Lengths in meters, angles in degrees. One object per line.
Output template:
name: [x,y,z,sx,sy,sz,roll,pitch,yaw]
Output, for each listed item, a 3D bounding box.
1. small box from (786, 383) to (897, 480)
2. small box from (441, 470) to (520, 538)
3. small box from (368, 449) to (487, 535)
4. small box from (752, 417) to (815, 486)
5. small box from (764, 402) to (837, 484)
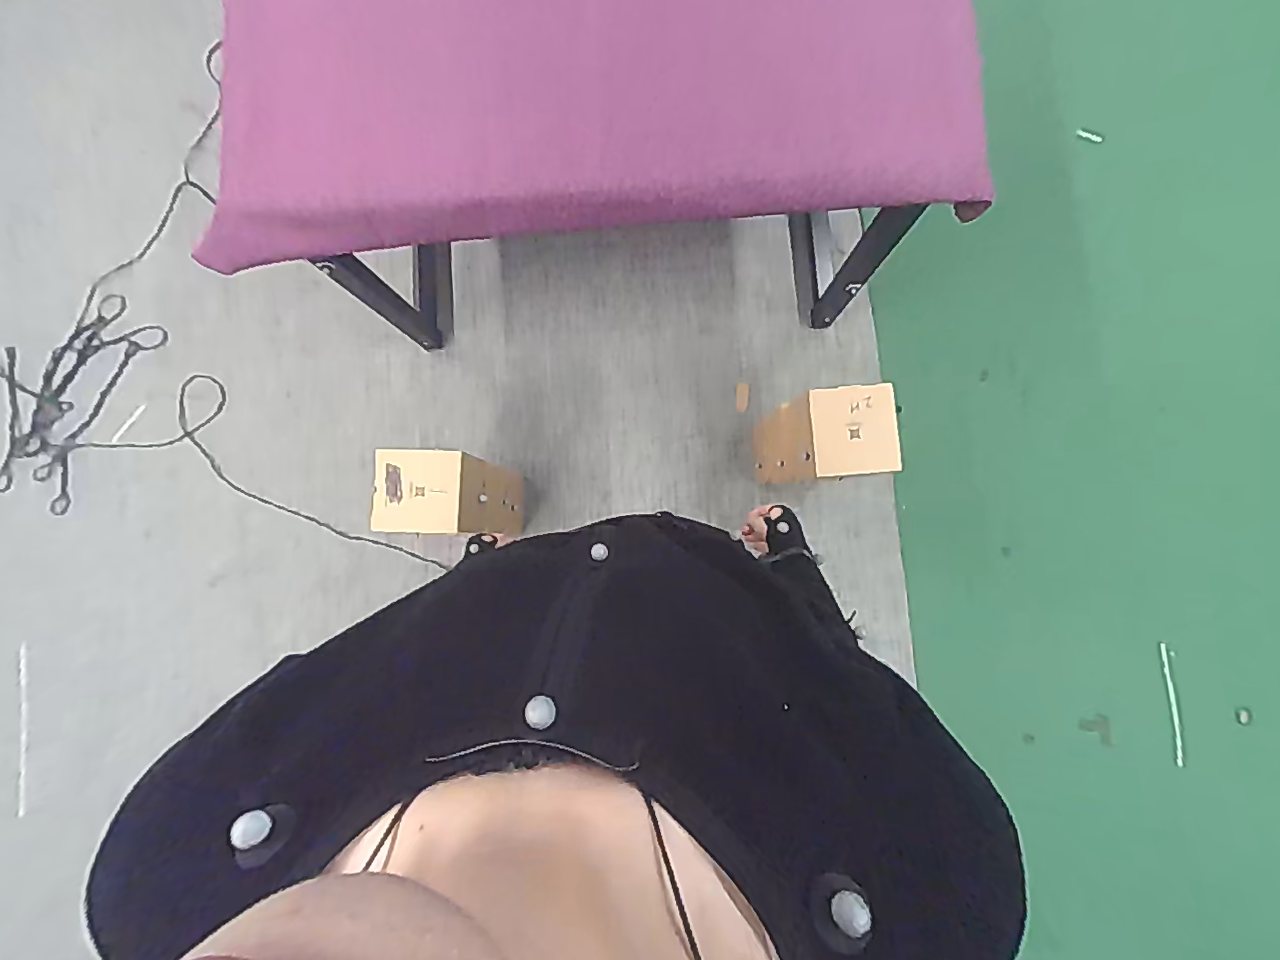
small box: [0.411,-0.092,1.124,0.168,0.176,0.179,-4,86,0]
small box: [-0.425,0.066,1.462,0.168,0.176,0.179,0,86,1]
small box: [-0.438,0.031,1.134,0.179,0.176,0.168,2,85,1]
small box: [0.399,-0.075,1.451,0.179,0.176,0.168,-3,85,1]
small box: [0.401,-0.087,1.290,0.168,0.176,0.179,-5,86,1]
